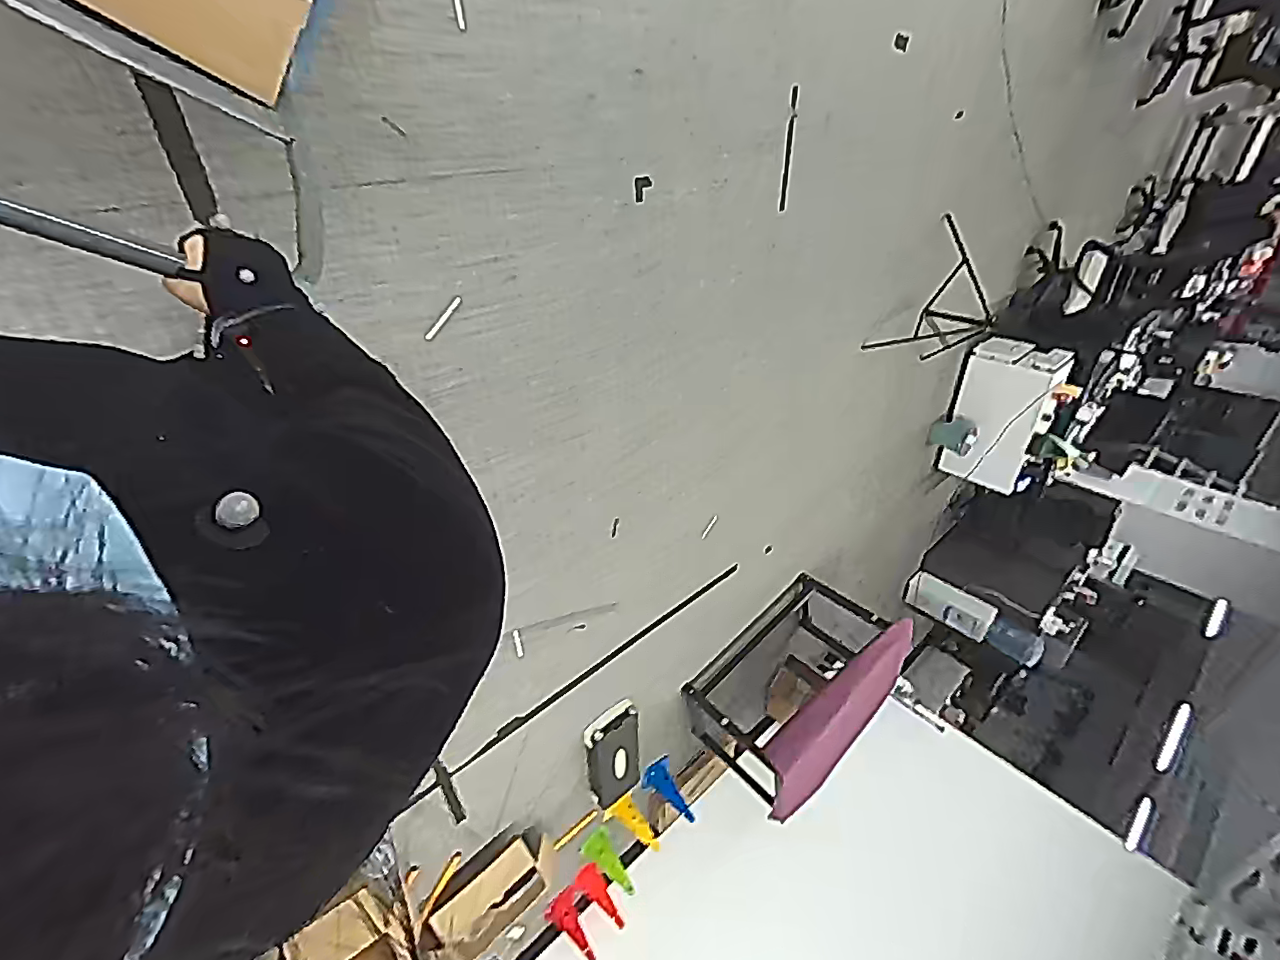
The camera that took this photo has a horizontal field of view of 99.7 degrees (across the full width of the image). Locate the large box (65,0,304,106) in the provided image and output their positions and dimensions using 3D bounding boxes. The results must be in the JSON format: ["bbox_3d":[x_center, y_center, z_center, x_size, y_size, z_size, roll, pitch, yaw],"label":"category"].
[{"bbox_3d":[-0.633,-0.756,0.628,0.408,0.320,0.320,10,130,-49],"label":"large box"}]
